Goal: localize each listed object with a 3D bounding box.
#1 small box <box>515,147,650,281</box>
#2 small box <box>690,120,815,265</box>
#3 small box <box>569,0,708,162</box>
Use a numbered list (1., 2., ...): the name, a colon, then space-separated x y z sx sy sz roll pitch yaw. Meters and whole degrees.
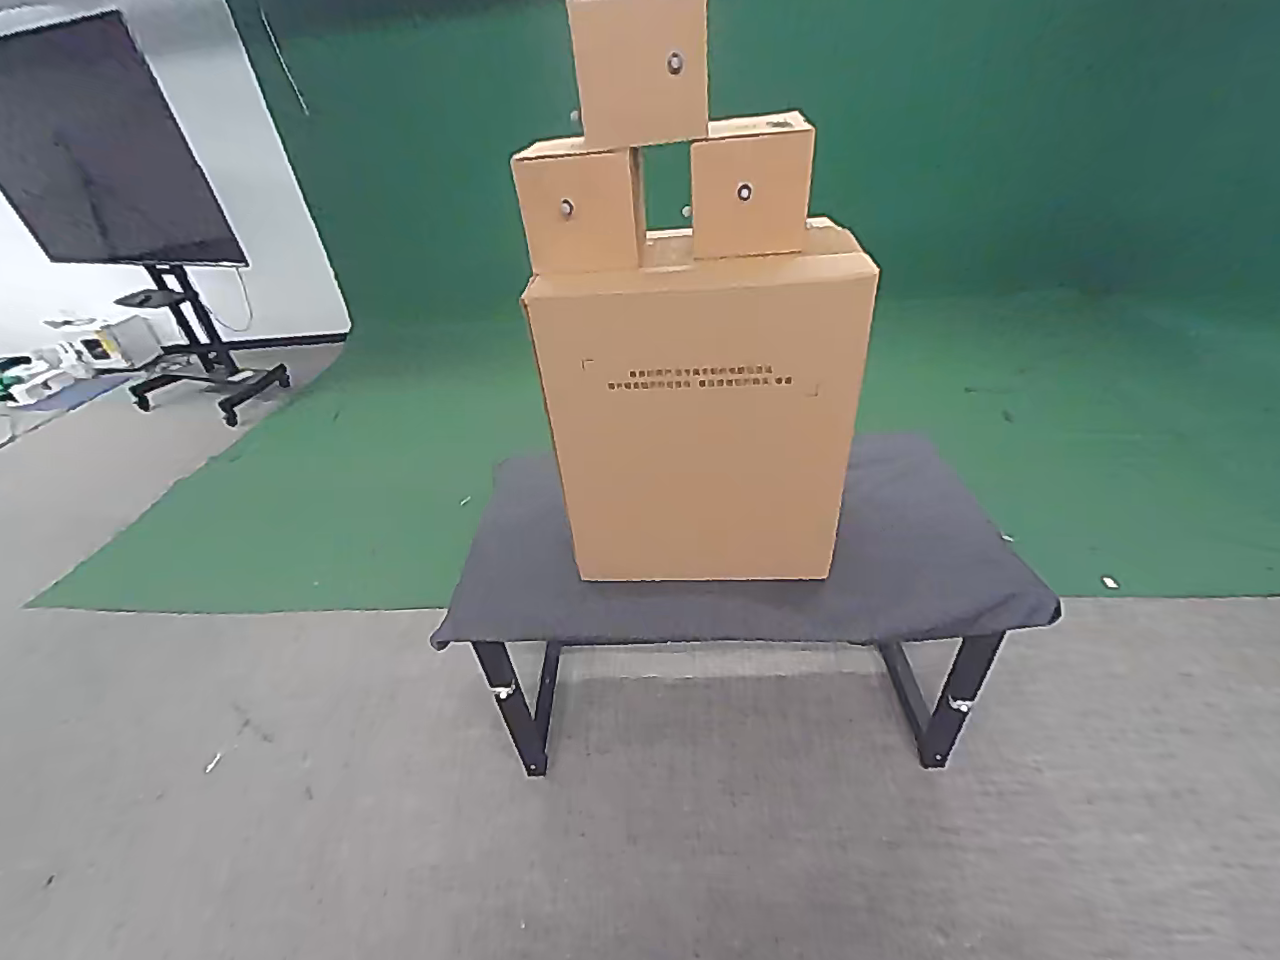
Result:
1. small box: -0.083 -0.437 0.888 0.179 0.176 0.168 -1 40 8
2. small box: 0.174 -0.462 0.874 0.179 0.176 0.168 -2 40 8
3. small box: 0.000 -0.572 0.780 0.179 0.176 0.168 -9 37 0
